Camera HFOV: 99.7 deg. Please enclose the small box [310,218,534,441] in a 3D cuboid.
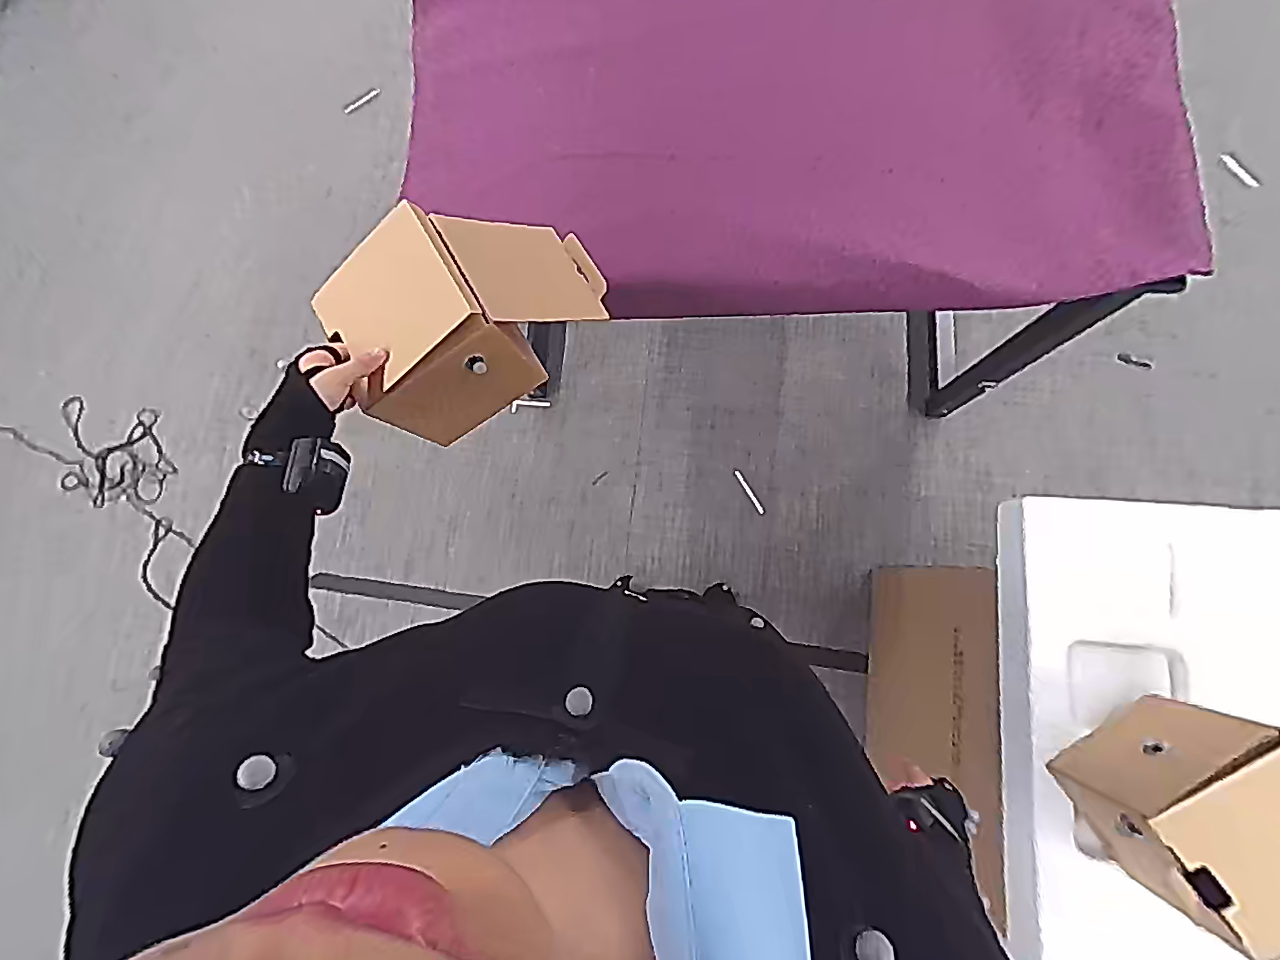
[{"bbox_3d":[-0.255,-0.173,0.675,0.179,0.176,0.168,-34,74,6],"label":"small box"}]
